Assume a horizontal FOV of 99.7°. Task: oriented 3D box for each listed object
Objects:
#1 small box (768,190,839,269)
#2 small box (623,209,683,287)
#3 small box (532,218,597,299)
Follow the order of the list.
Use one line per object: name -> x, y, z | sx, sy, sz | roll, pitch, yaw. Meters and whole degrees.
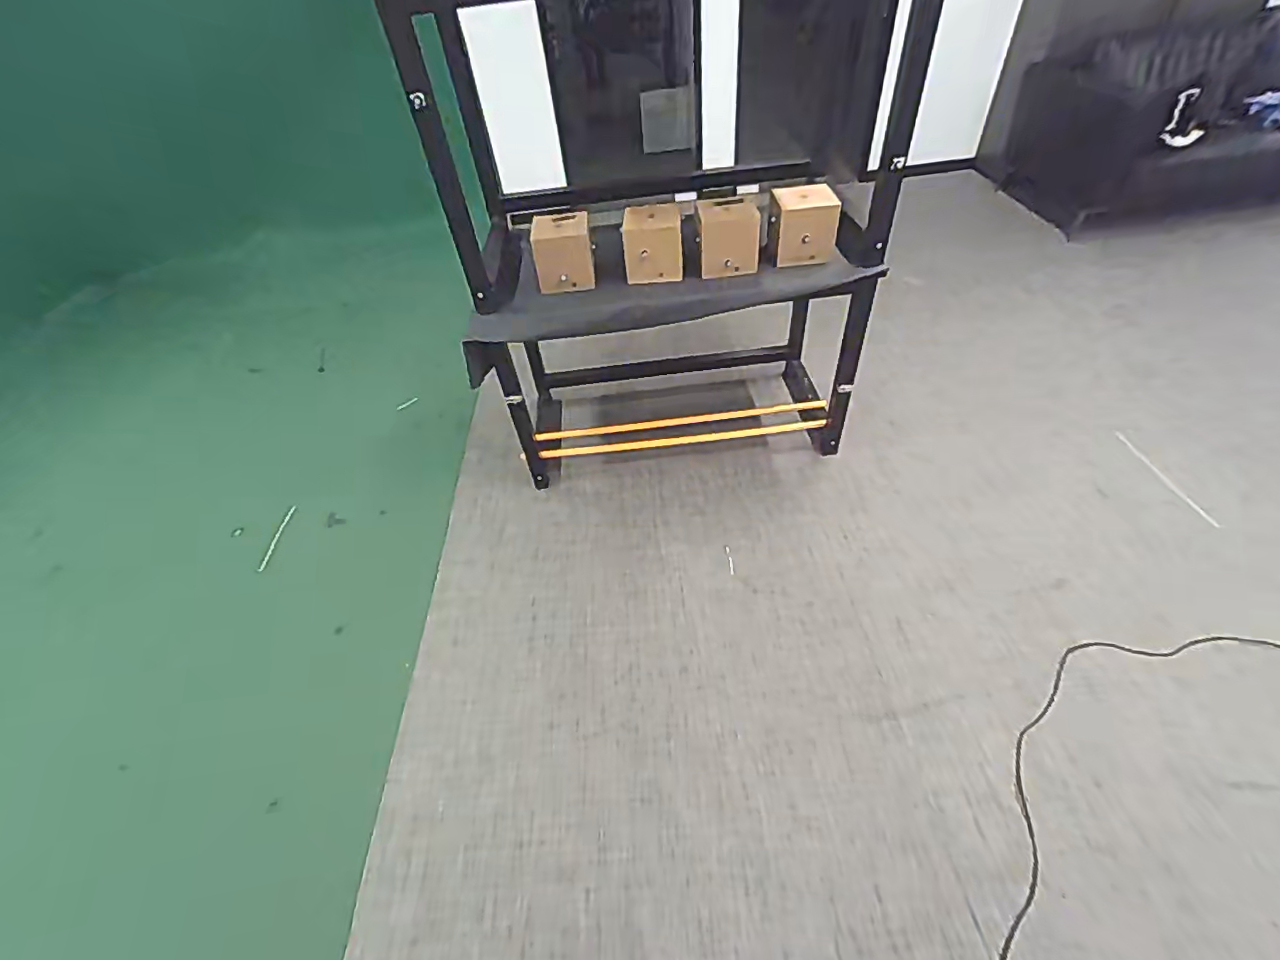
small box -> 0.484, -0.747, 1.624 | 0.168, 0.176, 0.179 | -4, 45, 3
small box -> 0.045, -0.695, 1.635 | 0.168, 0.176, 0.179 | -2, 45, 5
small box -> -0.223, -0.672, 1.644 | 0.168, 0.176, 0.179 | -7, 46, 1
